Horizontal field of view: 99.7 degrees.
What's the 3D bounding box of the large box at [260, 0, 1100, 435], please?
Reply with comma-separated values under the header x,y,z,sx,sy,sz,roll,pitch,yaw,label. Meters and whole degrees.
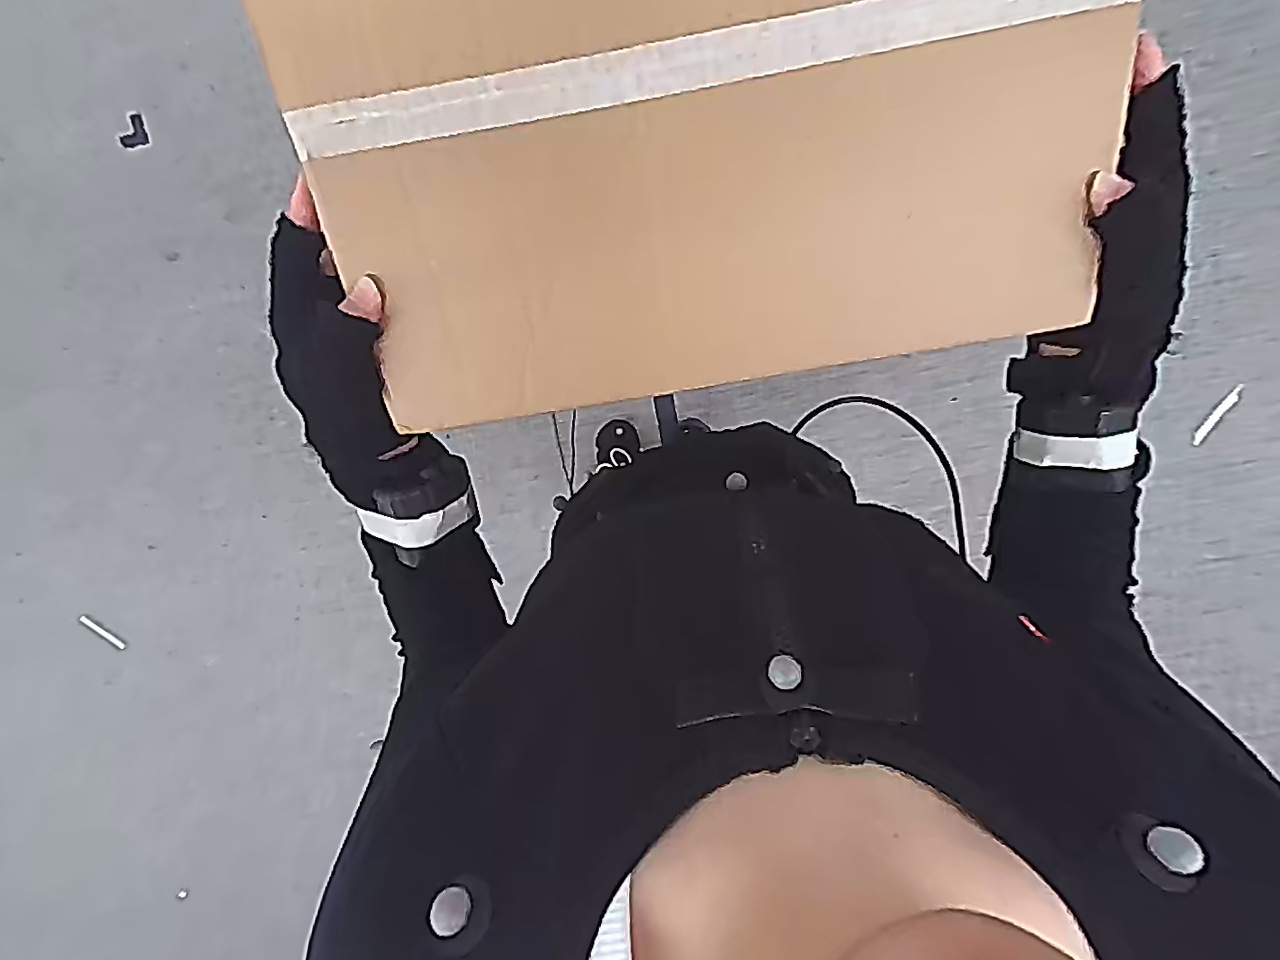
x,y,z,sx,sy,sz,roll,pitch,yaw,label
0.025,-0.257,0.406,0.408,0.320,0.320,-9,112,3,large box
